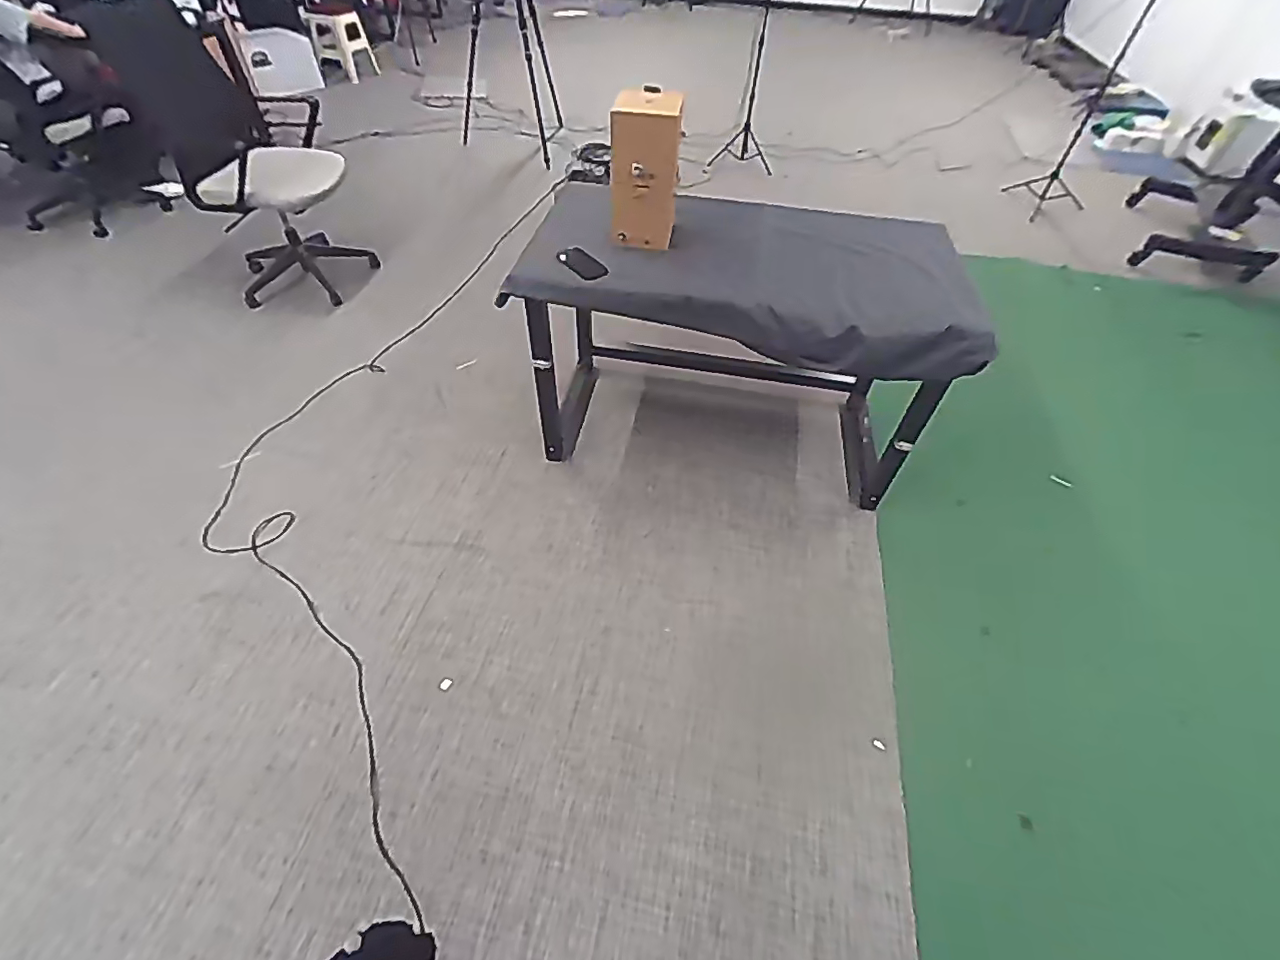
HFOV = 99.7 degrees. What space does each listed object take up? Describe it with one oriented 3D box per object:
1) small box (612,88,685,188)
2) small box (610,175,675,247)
[{"bbox_3d":[0.020,-0.877,1.390,0.168,0.176,0.179,6,51,2],"label":"small box"},{"bbox_3d":[0.010,-0.773,1.513,0.168,0.176,0.179,7,49,2],"label":"small box"}]
